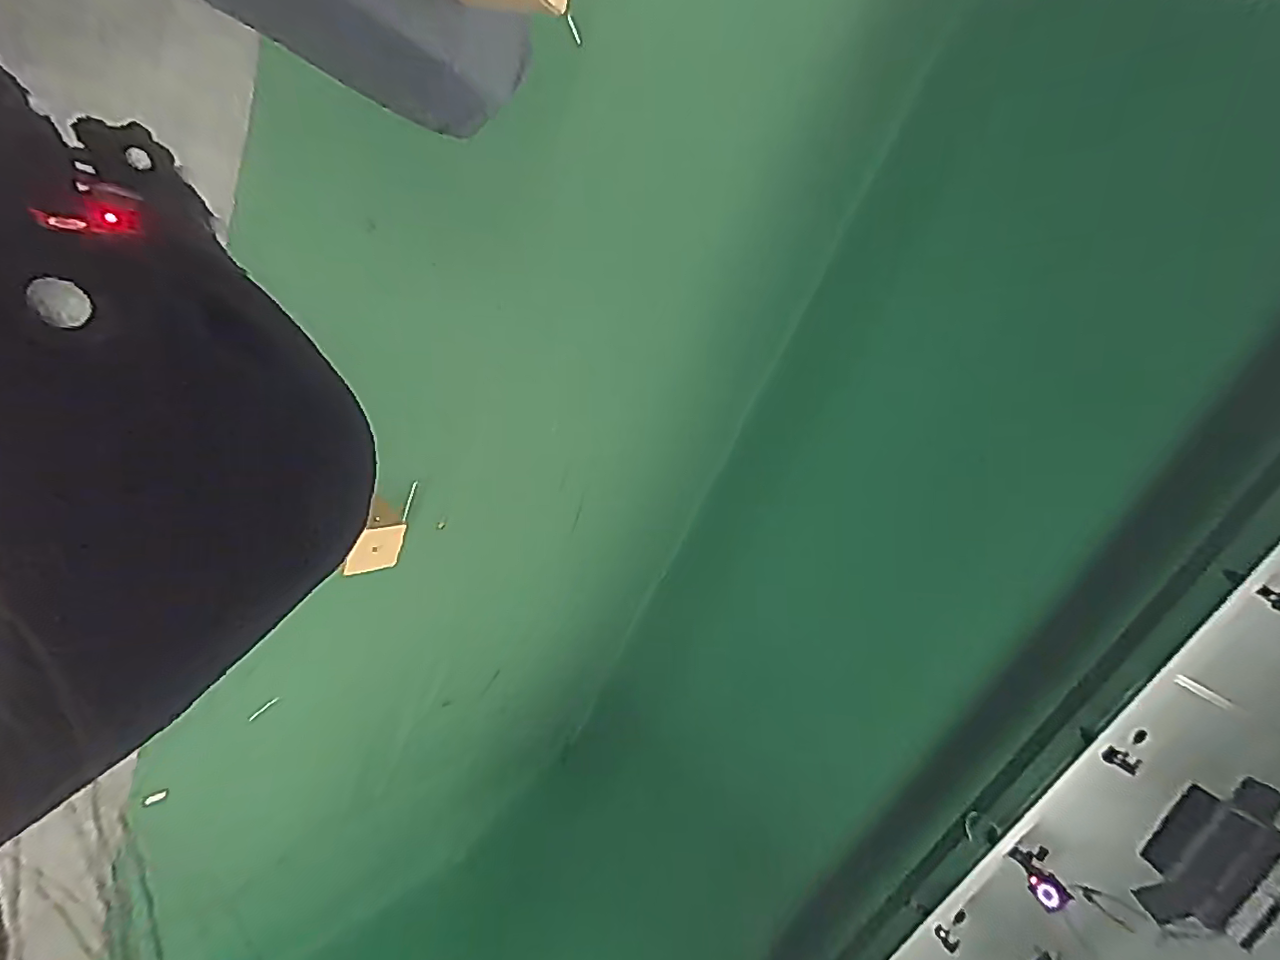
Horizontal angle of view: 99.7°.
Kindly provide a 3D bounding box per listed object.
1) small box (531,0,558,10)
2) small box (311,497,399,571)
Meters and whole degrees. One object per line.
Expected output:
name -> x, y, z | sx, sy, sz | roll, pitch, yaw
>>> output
small box -> -0.155, -0.586, 0.493 | 0.168, 0.176, 0.179 | -3, 121, -57
small box -> -0.916, 0.165, 1.736 | 0.179, 0.176, 0.168 | -7, 125, -55
